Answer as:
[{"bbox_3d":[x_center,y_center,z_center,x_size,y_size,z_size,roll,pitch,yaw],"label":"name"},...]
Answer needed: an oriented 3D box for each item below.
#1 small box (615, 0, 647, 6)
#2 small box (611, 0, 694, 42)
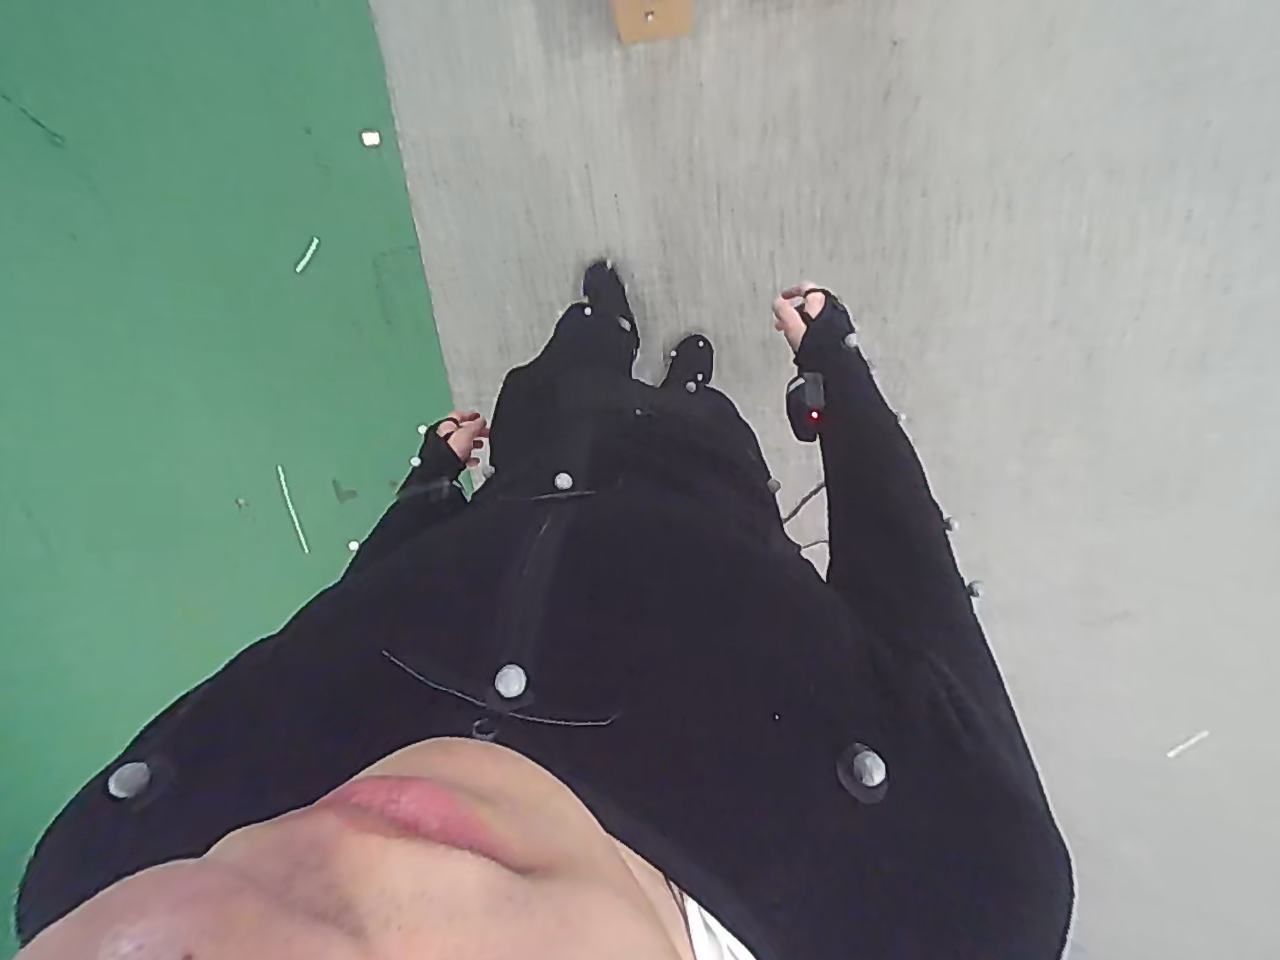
[{"bbox_3d":[0.006,-1.059,1.038,0.168,0.176,0.179,-8,108,8],"label":"small box"},{"bbox_3d":[0.025,-1.110,1.193,0.179,0.176,0.168,-6,108,7],"label":"small box"}]
